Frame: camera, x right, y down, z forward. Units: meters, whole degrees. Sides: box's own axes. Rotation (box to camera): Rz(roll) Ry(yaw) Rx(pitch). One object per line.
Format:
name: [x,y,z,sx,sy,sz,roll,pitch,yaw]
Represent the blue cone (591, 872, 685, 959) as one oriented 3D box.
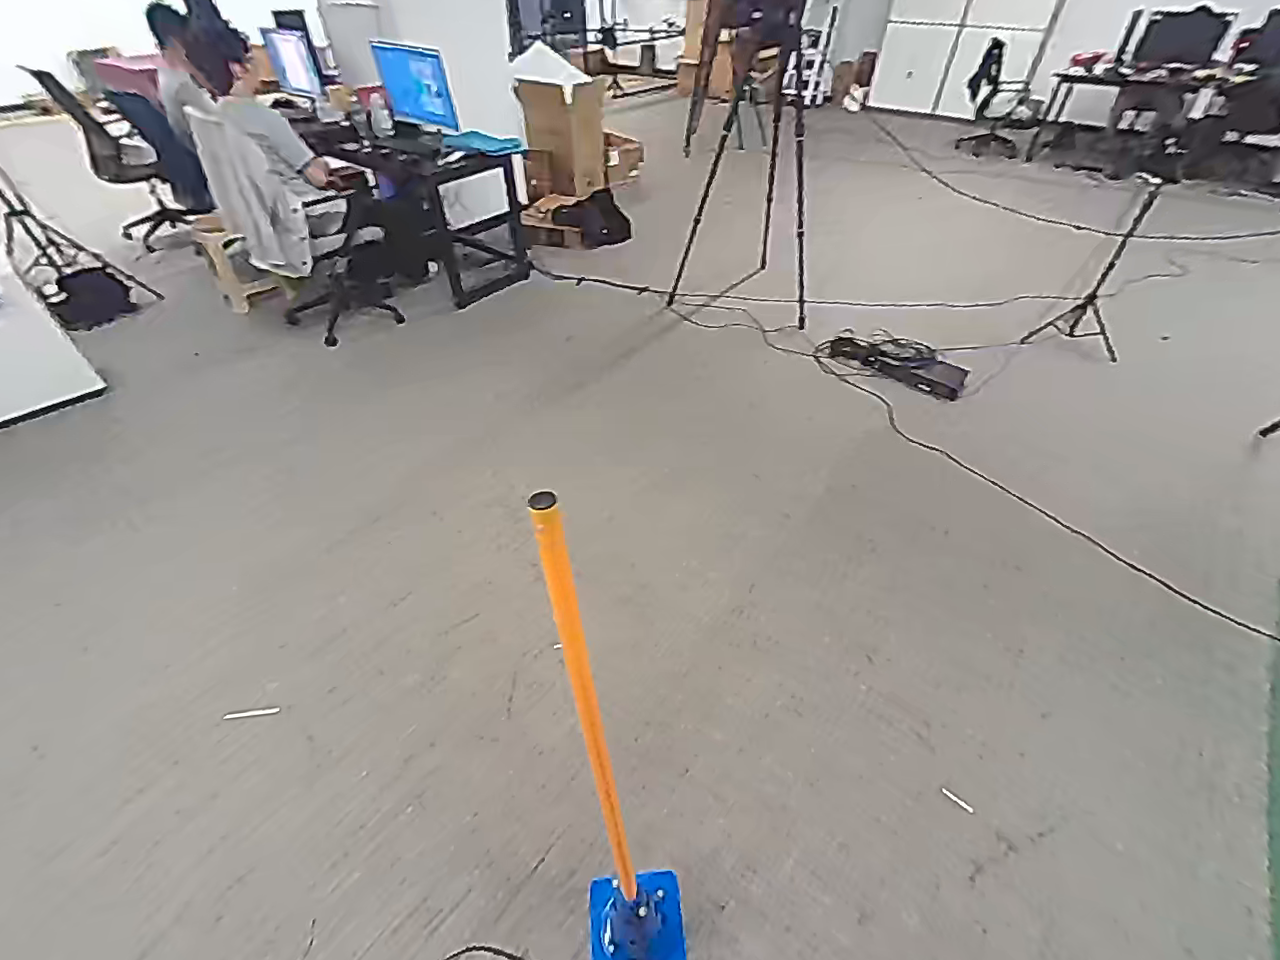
blue cone: [-0.009,0.831,1.036,0.192,0.380,0.193,-5,41,-4]
